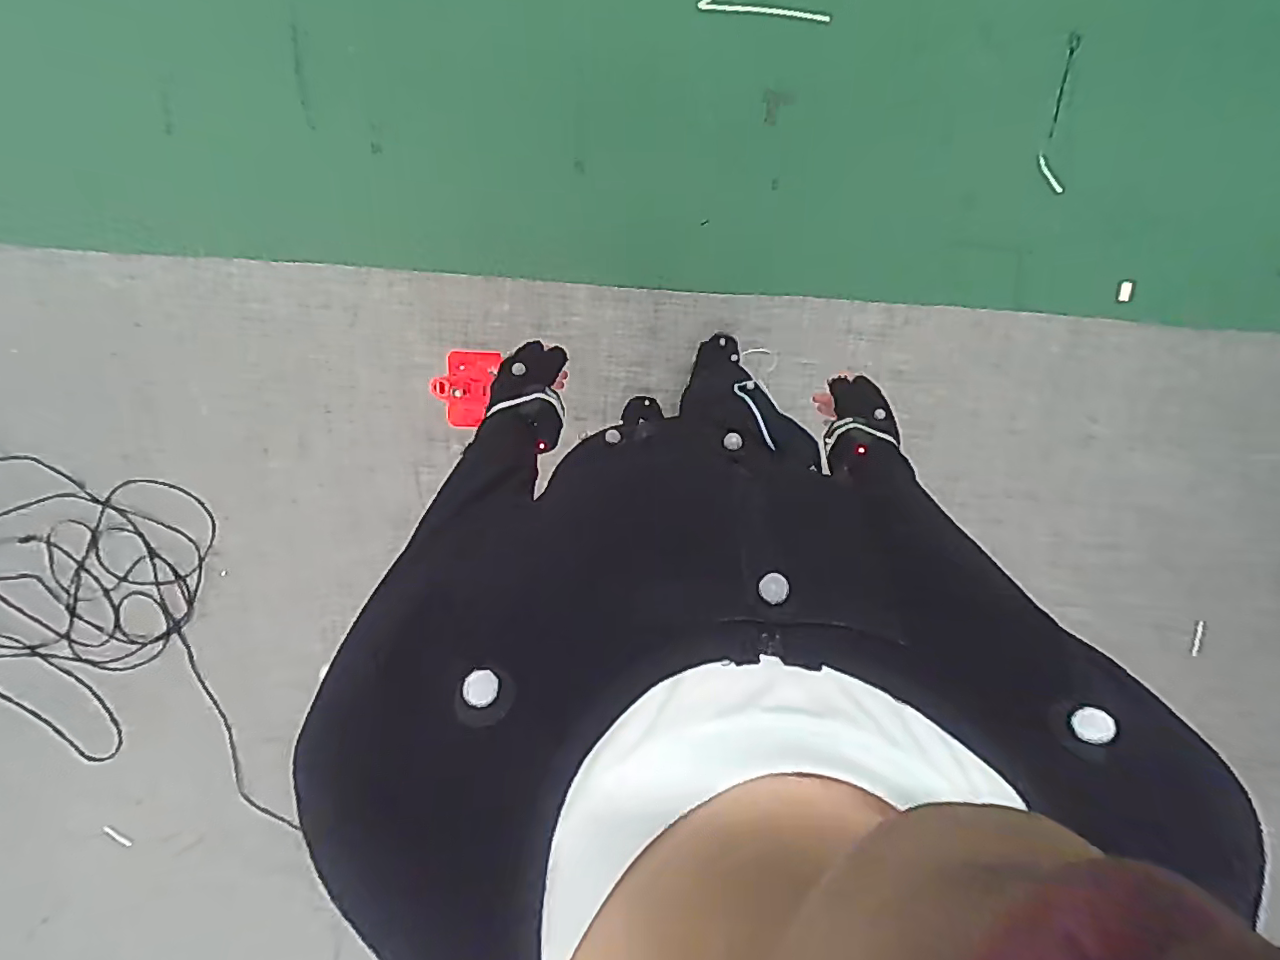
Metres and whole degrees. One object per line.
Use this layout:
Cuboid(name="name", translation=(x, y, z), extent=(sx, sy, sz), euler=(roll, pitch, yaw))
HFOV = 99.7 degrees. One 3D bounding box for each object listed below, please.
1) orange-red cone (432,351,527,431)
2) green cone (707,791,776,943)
Cuboid(name="orange-red cone", translation=(-0.397, -0.204, 1.251), extent=(0.198, 0.360, 0.199), euler=(4, 99, -1))
Cuboid(name="green cone", translation=(0.304, 1.053, 1.458), extent=(0.202, 0.368, 0.200), euler=(2, 98, 0))
